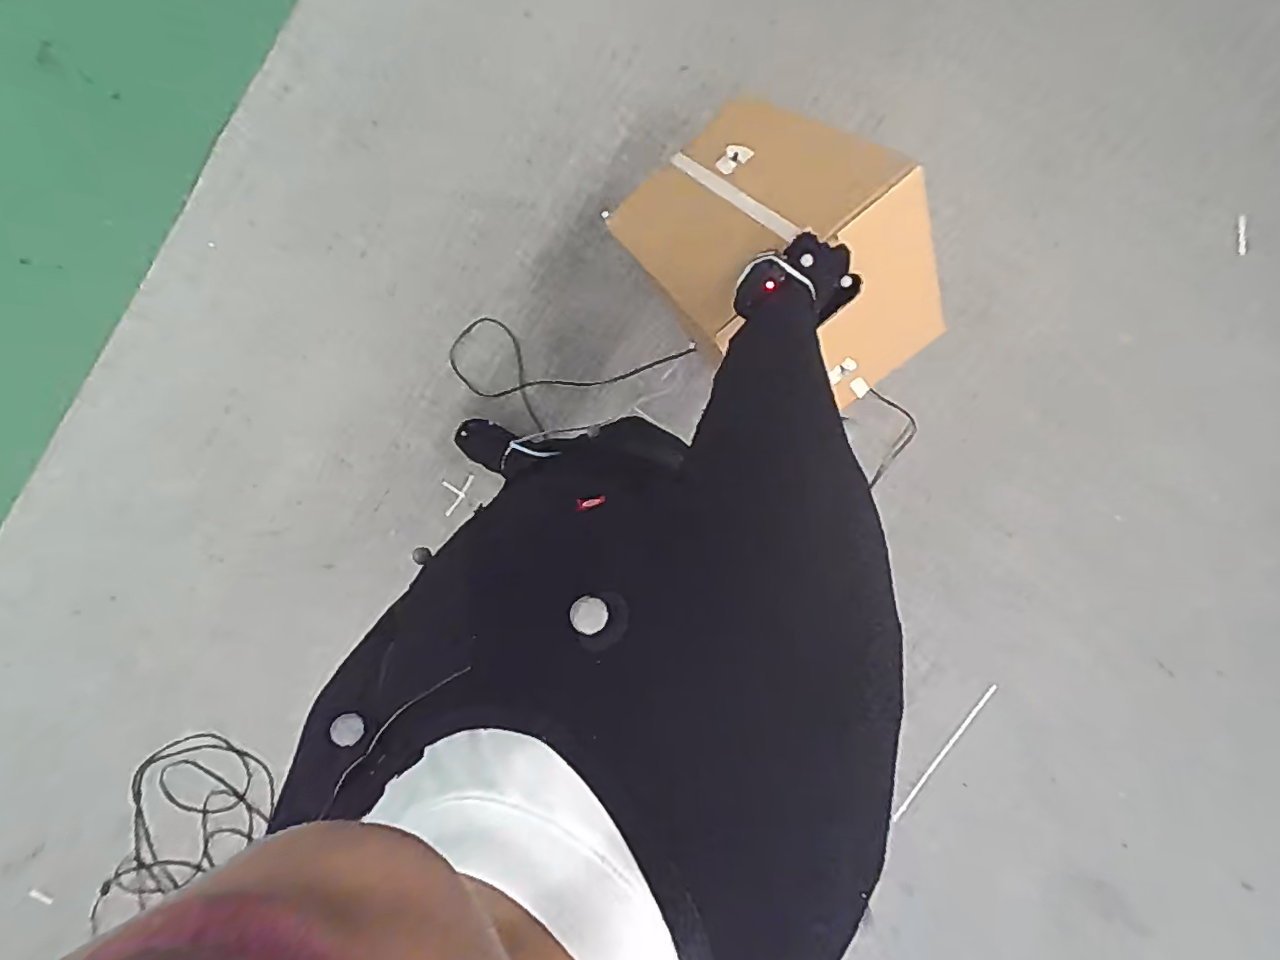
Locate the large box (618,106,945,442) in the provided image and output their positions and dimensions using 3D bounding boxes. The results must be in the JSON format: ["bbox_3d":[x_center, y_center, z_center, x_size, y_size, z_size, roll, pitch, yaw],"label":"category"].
[{"bbox_3d":[0.227,-0.342,0.913,0.320,0.408,0.320,-37,138,10],"label":"large box"}]
